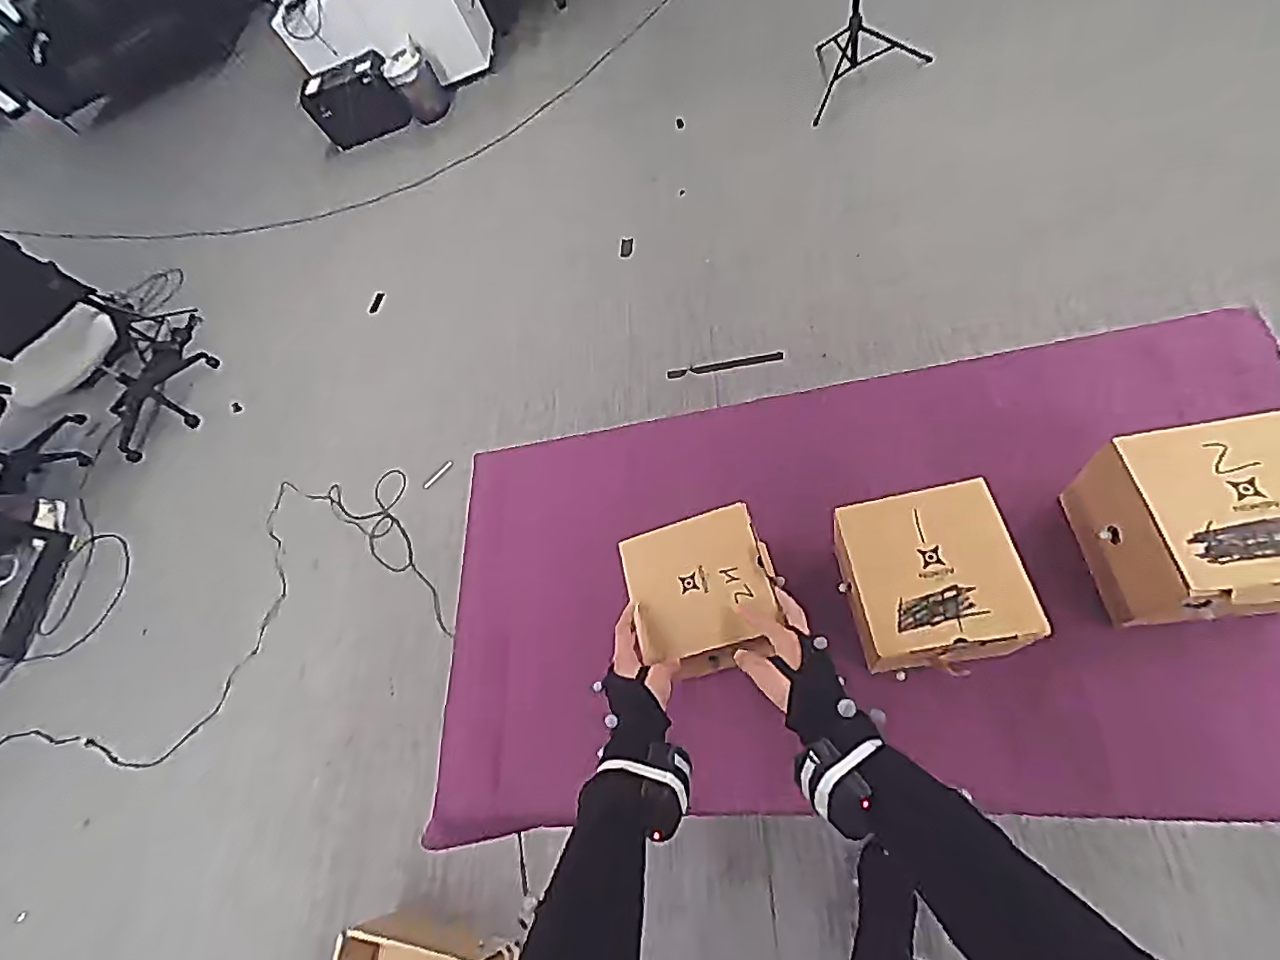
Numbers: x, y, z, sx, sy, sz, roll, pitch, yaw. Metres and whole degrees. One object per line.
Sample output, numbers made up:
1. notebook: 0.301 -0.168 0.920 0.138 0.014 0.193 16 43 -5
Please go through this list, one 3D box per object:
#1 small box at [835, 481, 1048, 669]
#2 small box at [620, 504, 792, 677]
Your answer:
1. small box: 0.344 0.127 0.655 0.168 0.176 0.179 -14 61 13
2. small box: 0.093 0.158 0.730 0.179 0.176 0.168 -19 61 10
